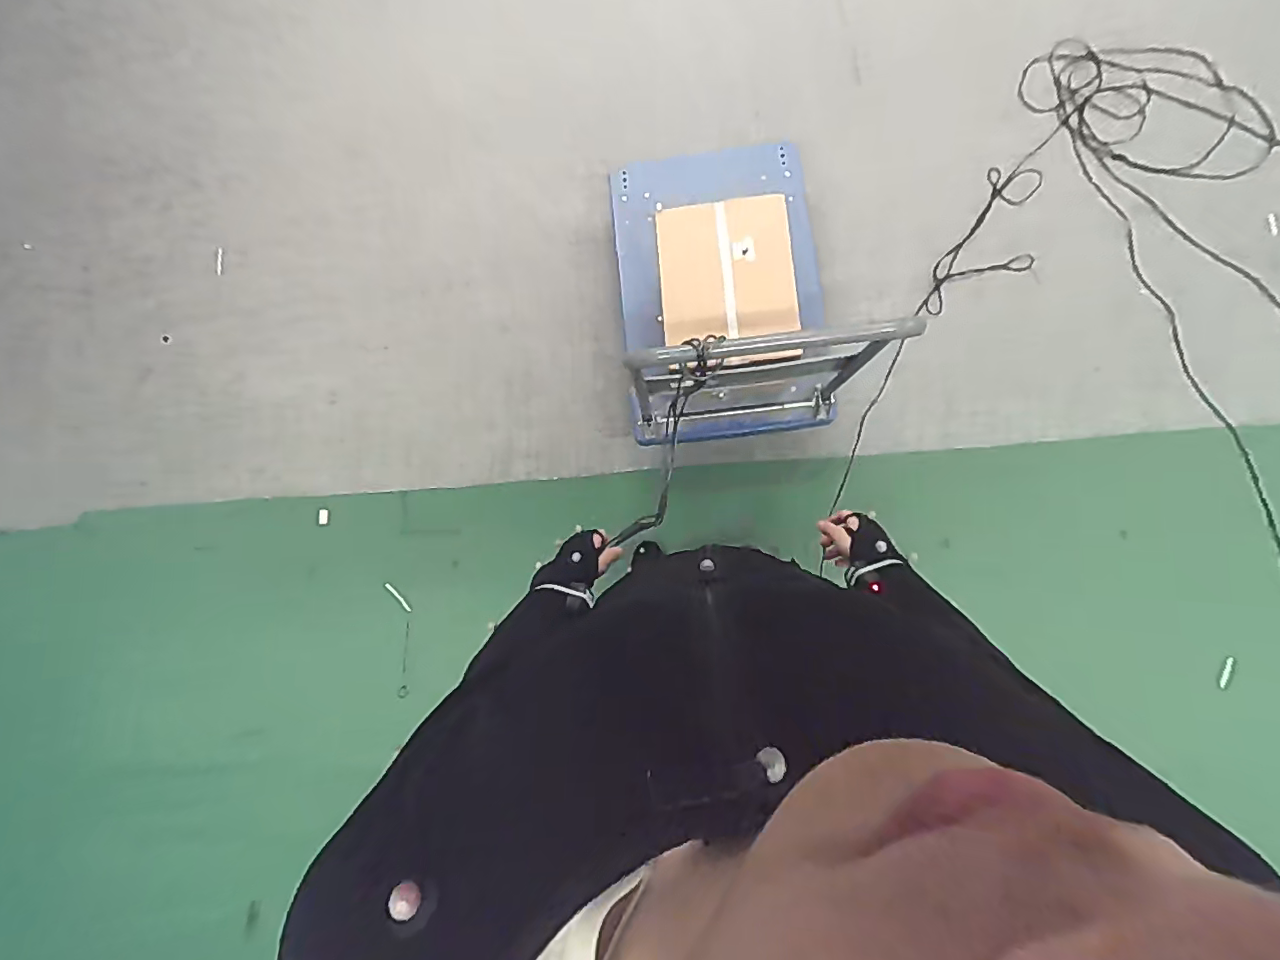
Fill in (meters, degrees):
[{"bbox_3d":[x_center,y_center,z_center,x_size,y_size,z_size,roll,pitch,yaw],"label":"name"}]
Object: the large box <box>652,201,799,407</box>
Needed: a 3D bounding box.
[{"bbox_3d":[0.211,-0.438,1.424,0.320,0.320,0.408,-5,80,4],"label":"large box"}]
